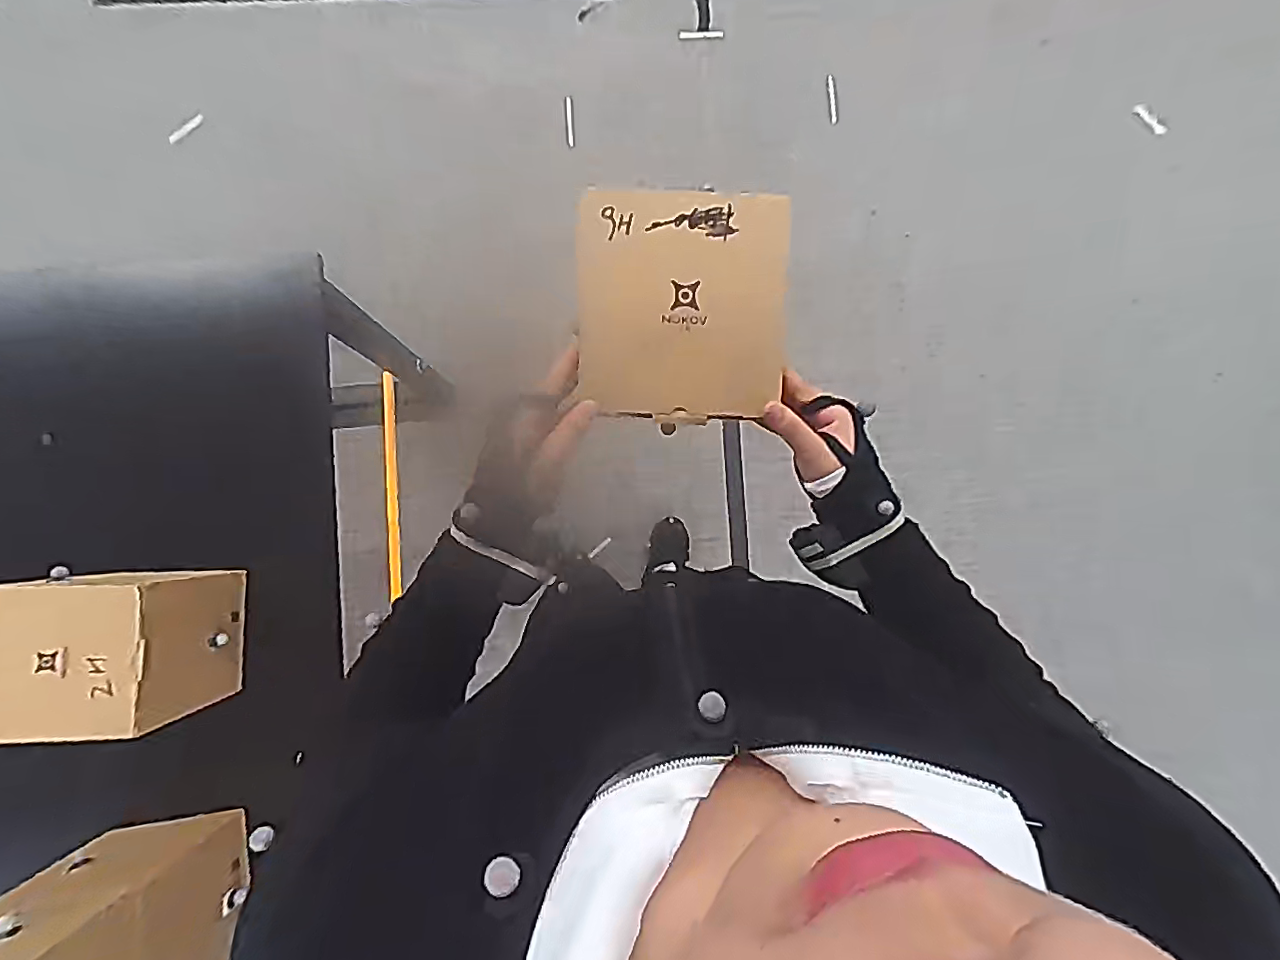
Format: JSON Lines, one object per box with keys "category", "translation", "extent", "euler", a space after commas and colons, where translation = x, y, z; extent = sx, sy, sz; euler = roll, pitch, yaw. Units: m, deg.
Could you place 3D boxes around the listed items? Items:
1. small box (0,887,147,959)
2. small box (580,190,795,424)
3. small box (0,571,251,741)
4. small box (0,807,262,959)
{"category": "small box", "translation": [-0.584, 0.515, 0.477], "extent": [0.168, 0.176, 0.179], "euler": [-9, 86, -3]}
{"category": "small box", "translation": [0.034, -0.146, 0.507], "extent": [0.168, 0.176, 0.179], "euler": [1, 98, -2]}
{"category": "small box", "translation": [-0.626, 0.203, 0.662], "extent": [0.179, 0.176, 0.168], "euler": [-1, 86, -2]}
{"category": "small box", "translation": [-0.596, 0.526, 0.641], "extent": [0.179, 0.176, 0.168], "euler": [-9, 87, -4]}
